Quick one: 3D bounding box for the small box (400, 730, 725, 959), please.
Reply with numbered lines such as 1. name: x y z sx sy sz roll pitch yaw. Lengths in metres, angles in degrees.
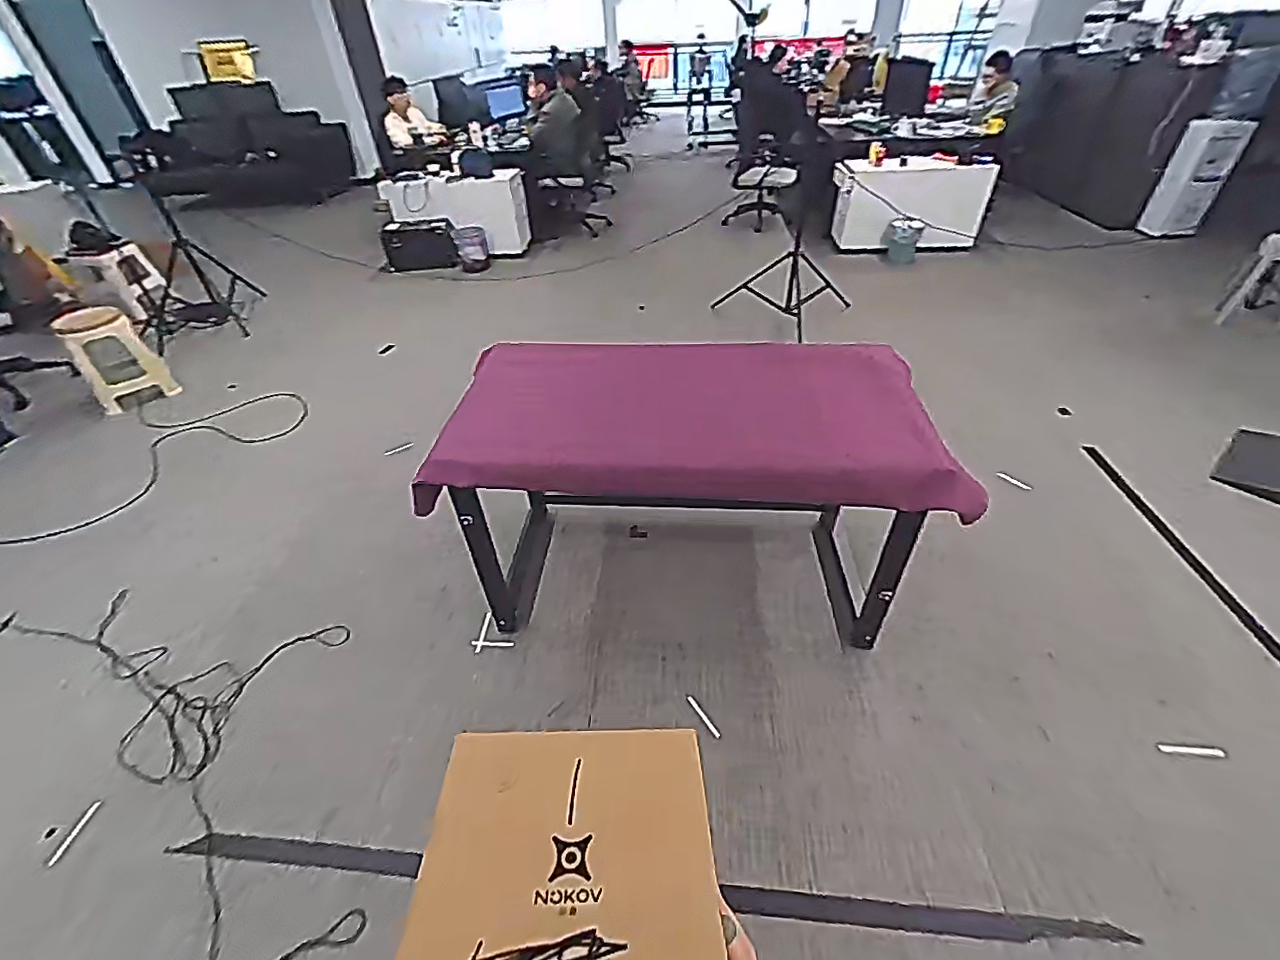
1. small box: -0.040 0.289 0.342 0.168 0.176 0.179 0 31 -3
